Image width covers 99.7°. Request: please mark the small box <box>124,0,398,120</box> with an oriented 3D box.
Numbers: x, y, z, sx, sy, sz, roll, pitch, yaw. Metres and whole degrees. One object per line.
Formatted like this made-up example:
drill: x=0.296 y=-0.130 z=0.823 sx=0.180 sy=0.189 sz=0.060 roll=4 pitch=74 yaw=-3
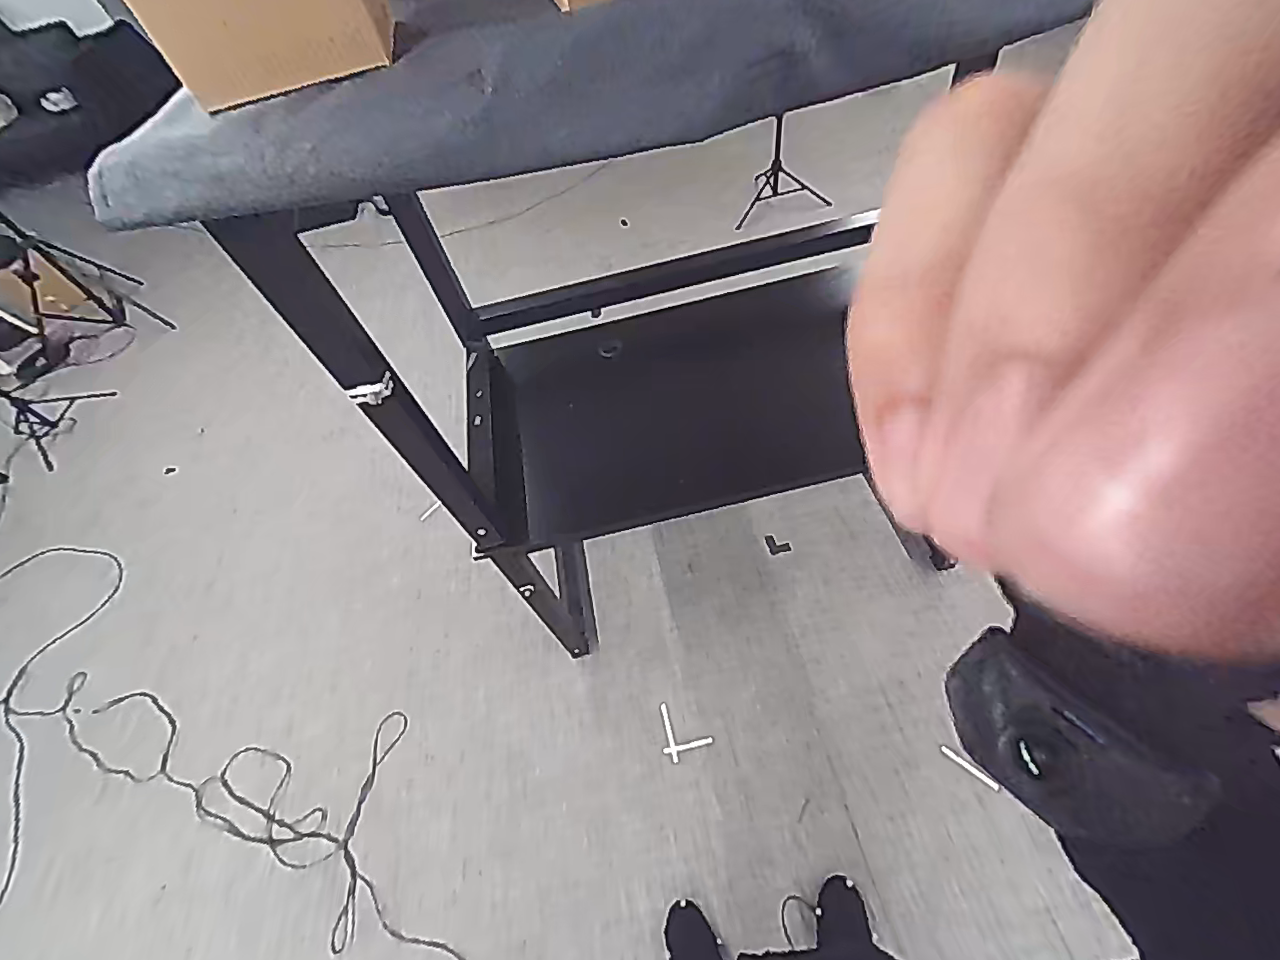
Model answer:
small box: x=-0.342 y=-0.448 z=0.475 sx=0.179 sy=0.176 sz=0.168 roll=-17 pitch=53 yaw=-2
